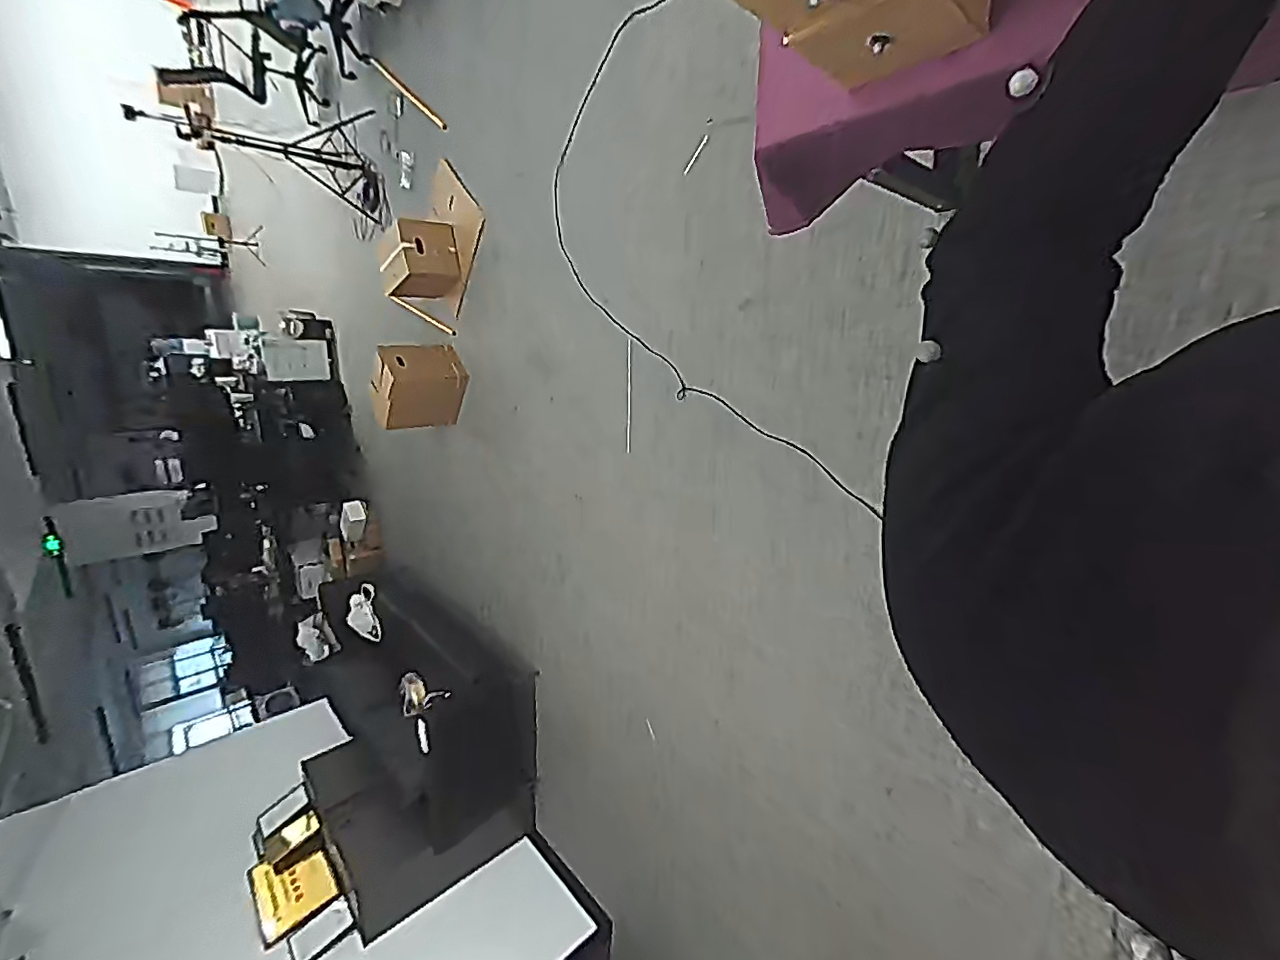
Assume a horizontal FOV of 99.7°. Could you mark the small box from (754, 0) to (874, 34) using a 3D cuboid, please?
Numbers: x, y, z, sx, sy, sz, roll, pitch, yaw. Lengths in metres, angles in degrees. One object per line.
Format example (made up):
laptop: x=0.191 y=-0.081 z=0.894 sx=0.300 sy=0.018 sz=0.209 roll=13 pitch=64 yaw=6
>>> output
small box: x=0.178 y=-0.592 z=0.524 sx=0.168 sy=0.176 sz=0.179 roll=14 pitch=109 yaw=45
